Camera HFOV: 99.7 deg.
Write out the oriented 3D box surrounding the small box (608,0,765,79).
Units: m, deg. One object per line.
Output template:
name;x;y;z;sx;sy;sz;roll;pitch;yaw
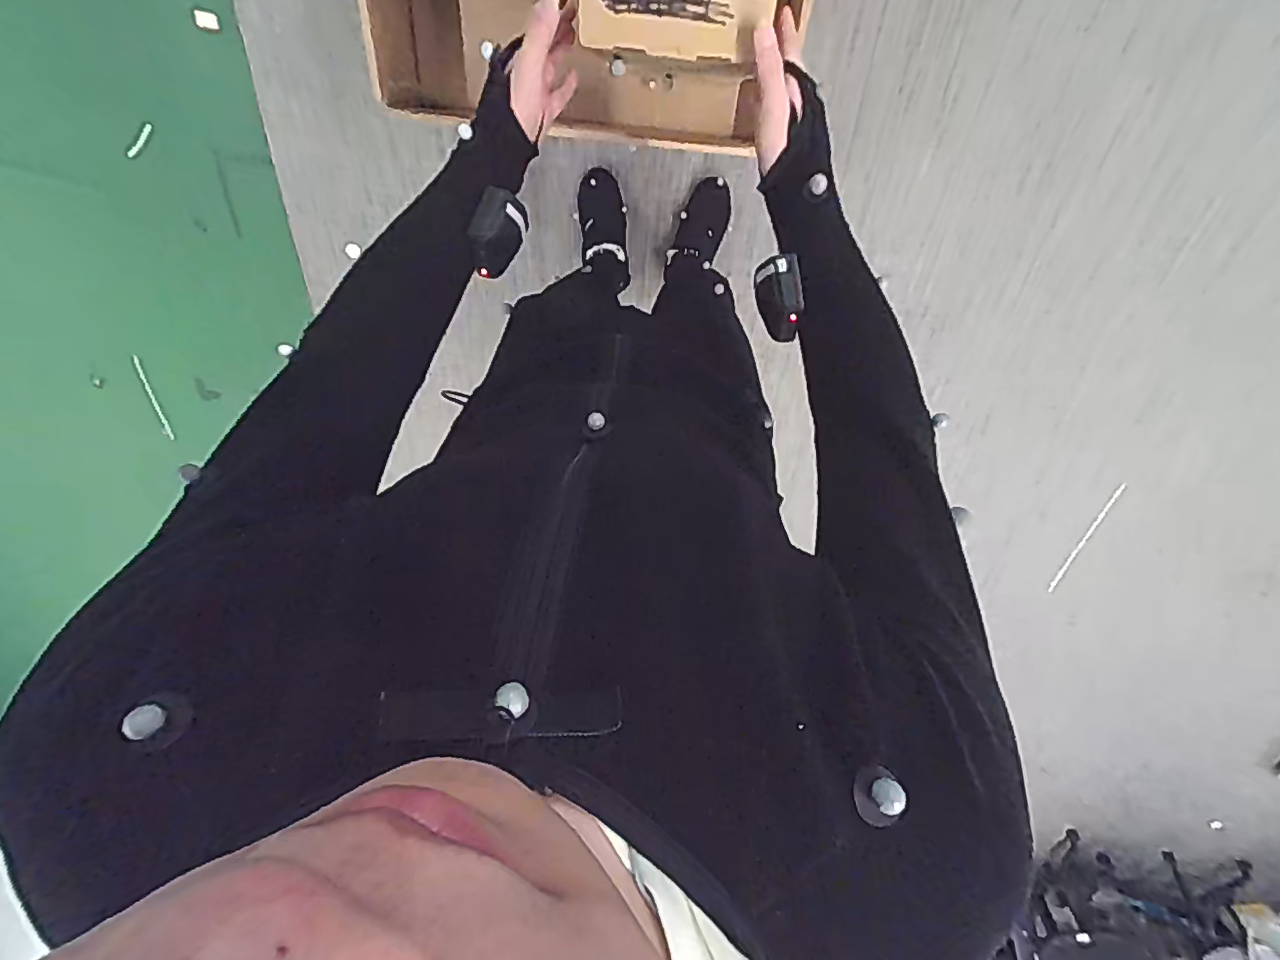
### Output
small box;0.058;-0.578;0.619;0.168;0.176;0.179;6;125;2
